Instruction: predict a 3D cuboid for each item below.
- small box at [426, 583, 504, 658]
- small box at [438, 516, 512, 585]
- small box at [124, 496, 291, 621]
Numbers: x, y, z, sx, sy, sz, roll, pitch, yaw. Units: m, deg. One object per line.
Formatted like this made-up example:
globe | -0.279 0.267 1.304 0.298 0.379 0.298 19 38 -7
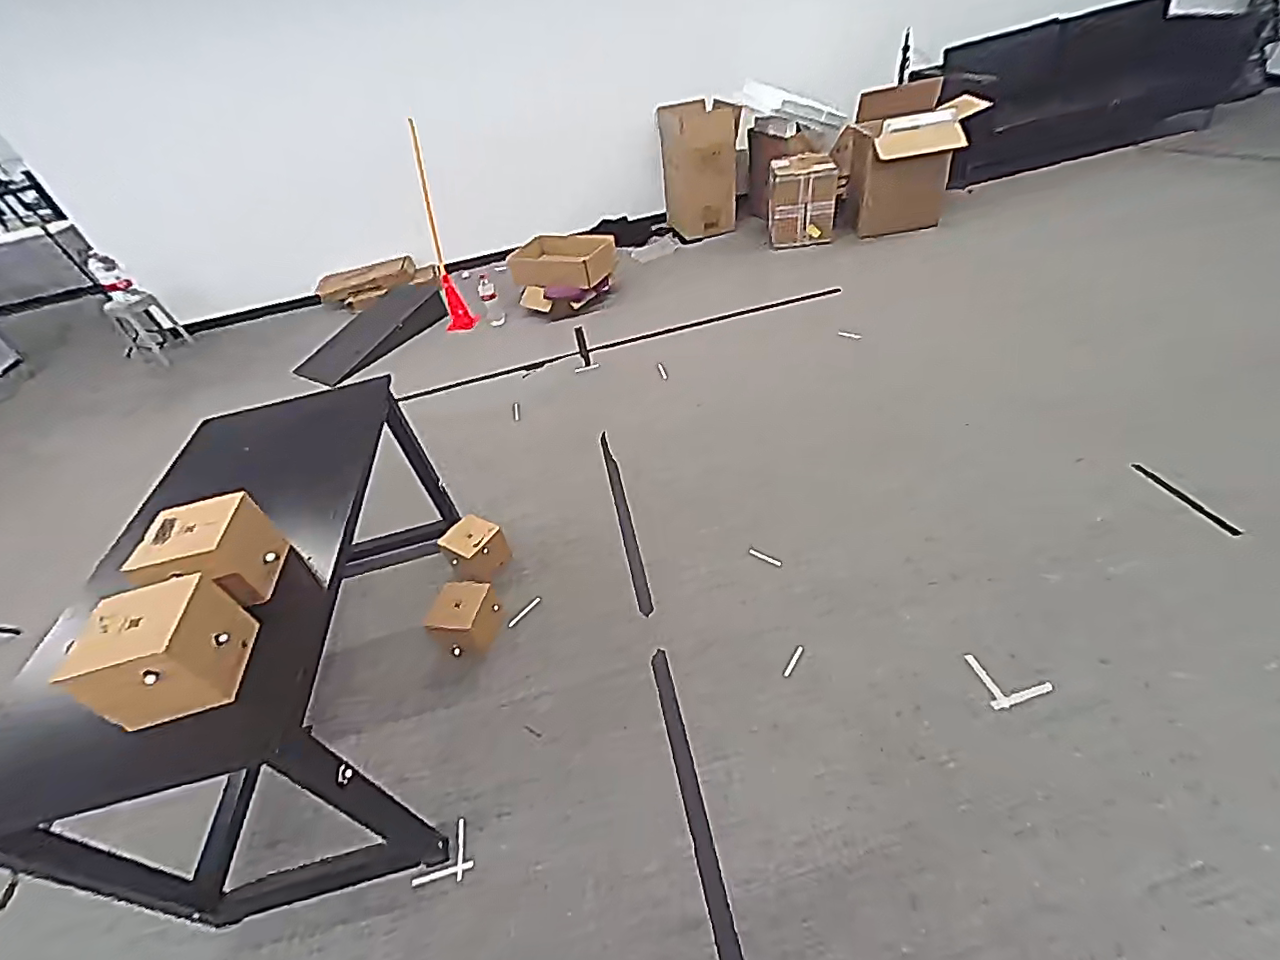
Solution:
small box | -0.573 0.466 1.799 0.168 0.176 0.179 -1 44 13
small box | -0.612 0.265 2.023 0.179 0.176 0.168 17 50 28
small box | -0.864 0.163 1.102 0.179 0.176 0.168 -14 42 -3
